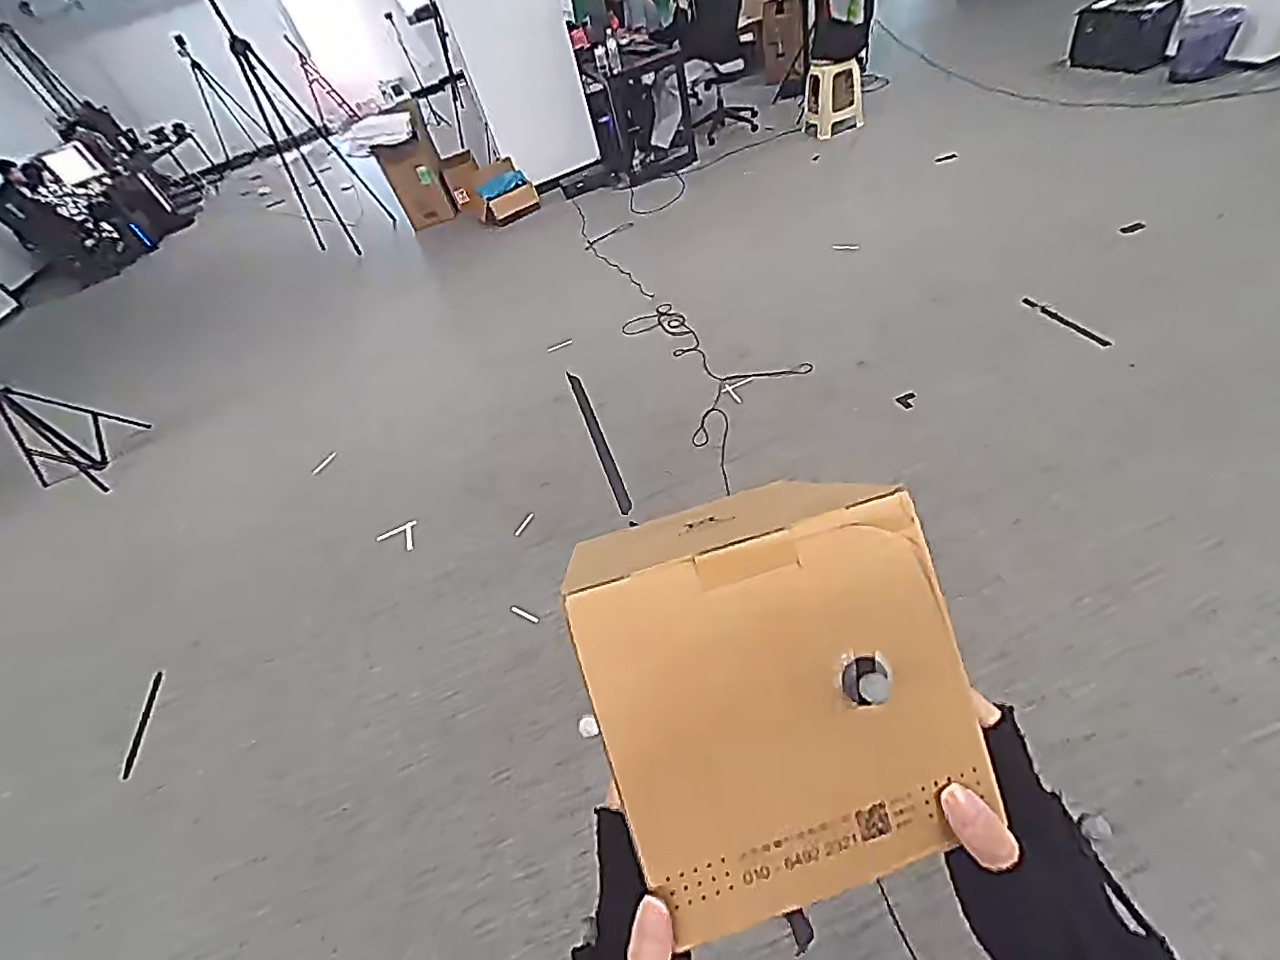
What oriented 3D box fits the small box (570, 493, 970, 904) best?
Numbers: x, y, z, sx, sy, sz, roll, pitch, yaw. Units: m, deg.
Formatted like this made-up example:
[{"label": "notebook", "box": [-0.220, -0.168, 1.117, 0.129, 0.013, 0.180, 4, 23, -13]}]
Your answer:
[{"label": "small box", "box": [0.064, 0.116, 0.339, 0.168, 0.176, 0.179, -17, 1, -3]}]
